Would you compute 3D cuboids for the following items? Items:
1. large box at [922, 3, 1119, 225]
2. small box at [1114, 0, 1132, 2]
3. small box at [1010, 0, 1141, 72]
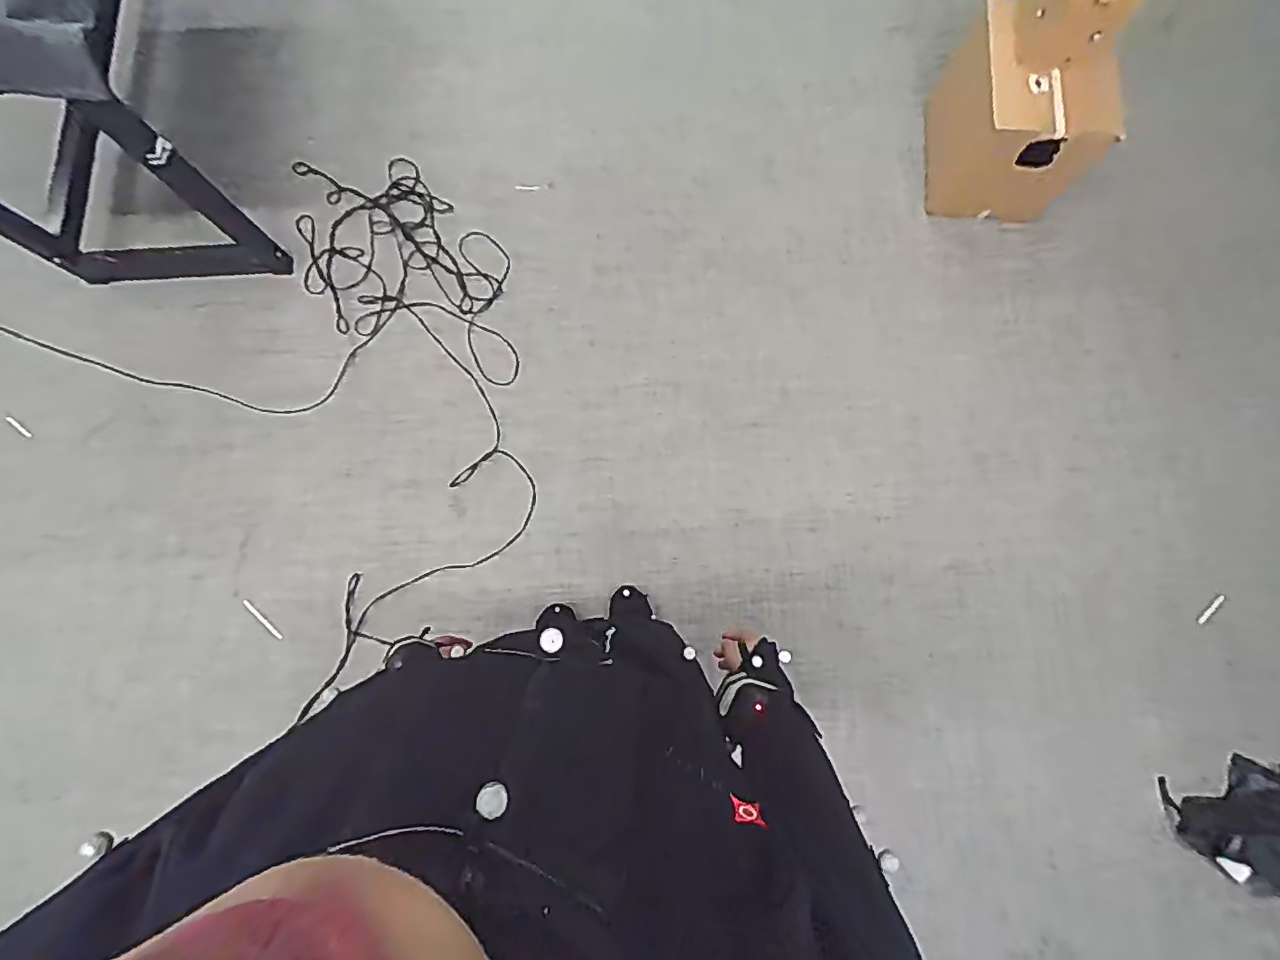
[{"bbox_3d":[1.006,-0.978,1.477,0.320,0.320,0.408,3,80,2],"label":"large box"},{"bbox_3d":[0.992,-1.130,1.095,0.168,0.176,0.179,6,80,0],"label":"small box"},{"bbox_3d":[0.997,-1.092,1.253,0.168,0.176,0.179,4,78,0],"label":"small box"}]
